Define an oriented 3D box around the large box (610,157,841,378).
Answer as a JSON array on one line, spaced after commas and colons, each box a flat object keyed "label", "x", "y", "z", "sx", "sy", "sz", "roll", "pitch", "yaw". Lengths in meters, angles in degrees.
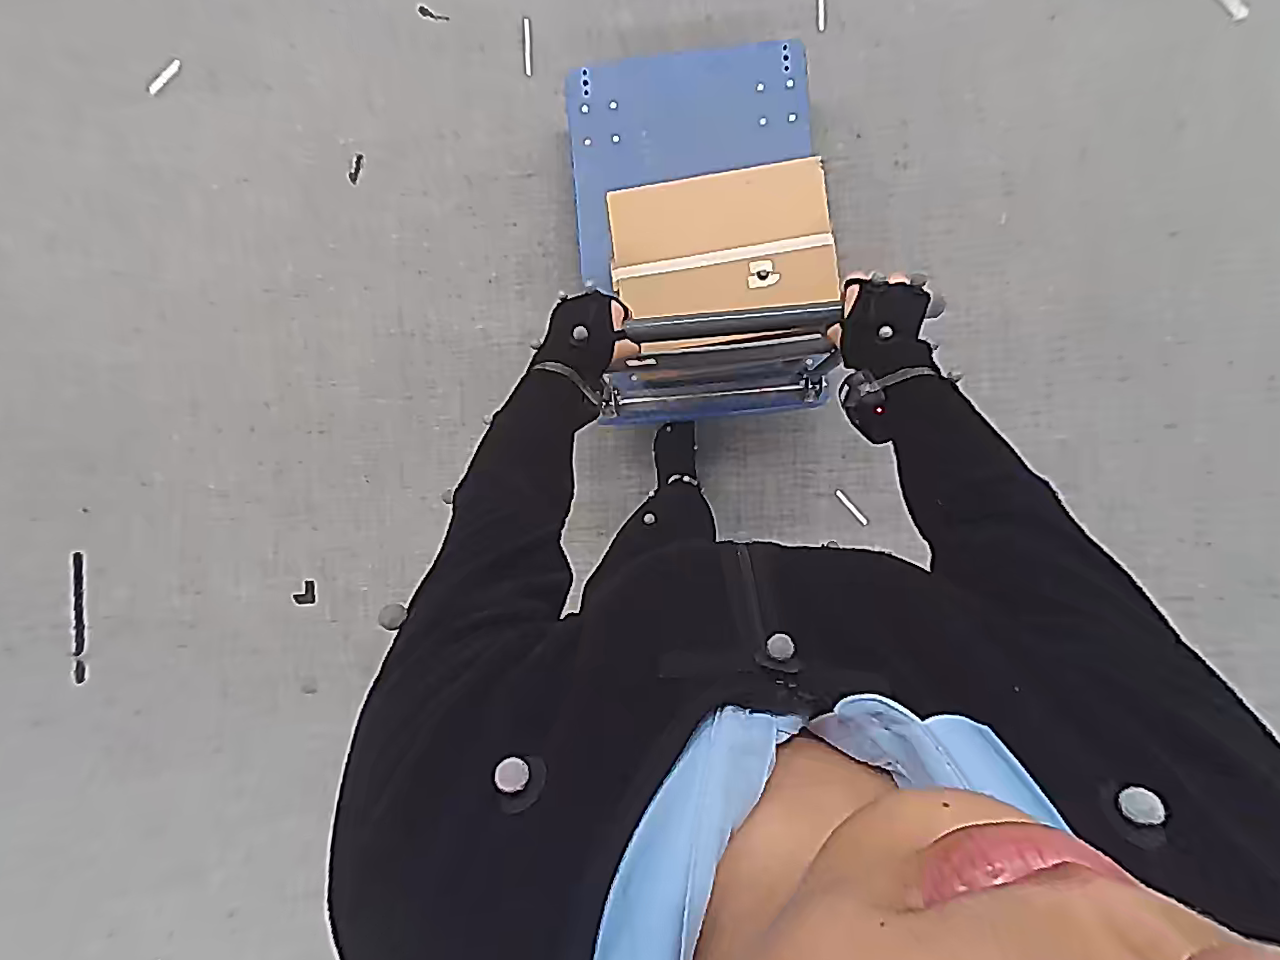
[{"label": "large box", "x": 0.167, "y": -0.425, "z": 1.169, "sx": 0.408, "sy": 0.320, "sz": 0.320, "roll": -8, "pitch": 91, "yaw": 3}]
